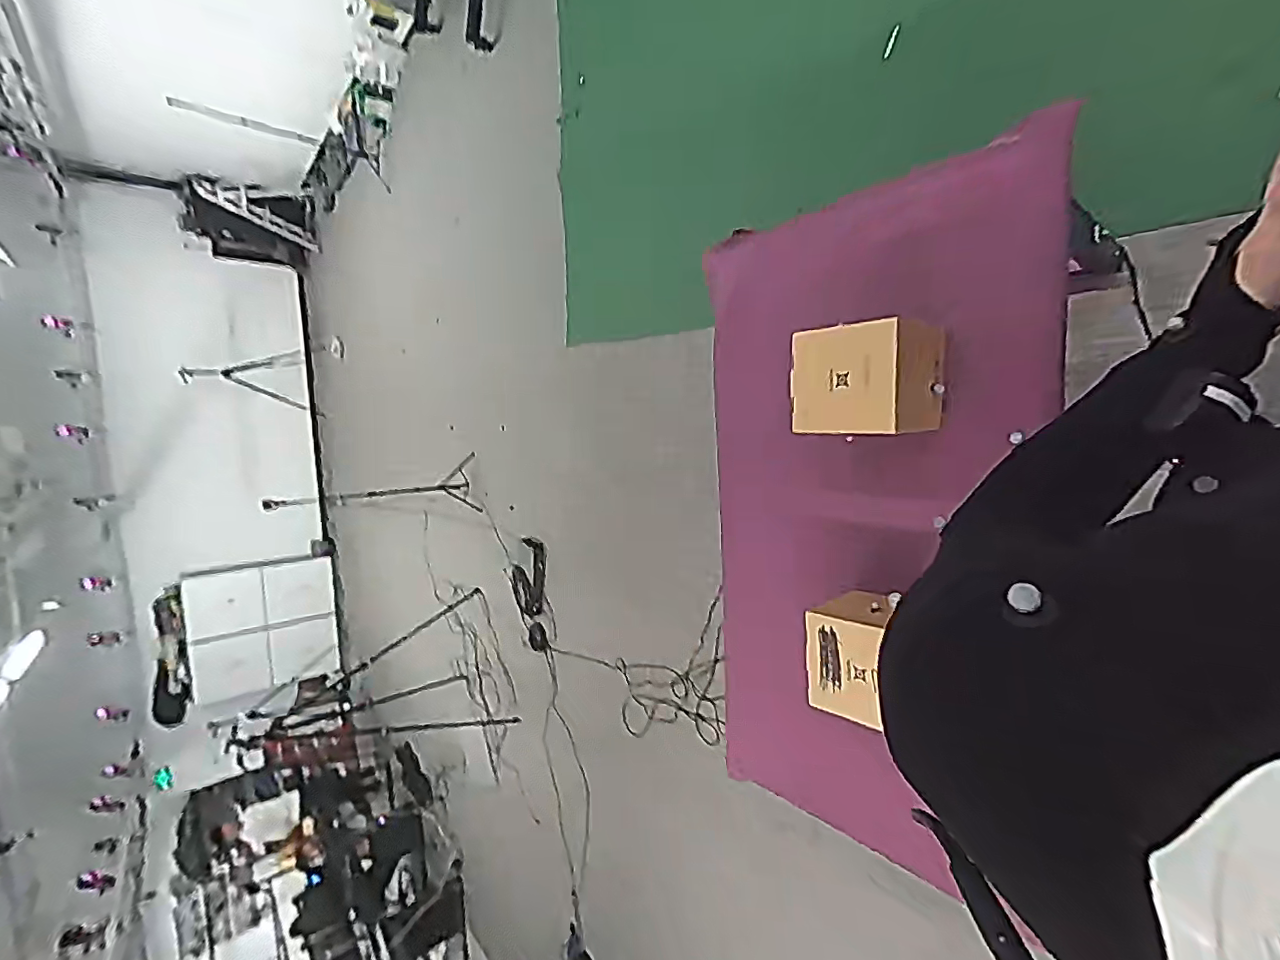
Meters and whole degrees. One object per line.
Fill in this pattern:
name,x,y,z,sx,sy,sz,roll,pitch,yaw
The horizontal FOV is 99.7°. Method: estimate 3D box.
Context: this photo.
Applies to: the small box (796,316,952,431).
small box,0.377,-0.166,0.881,0.179,0.176,0.168,7,102,51
